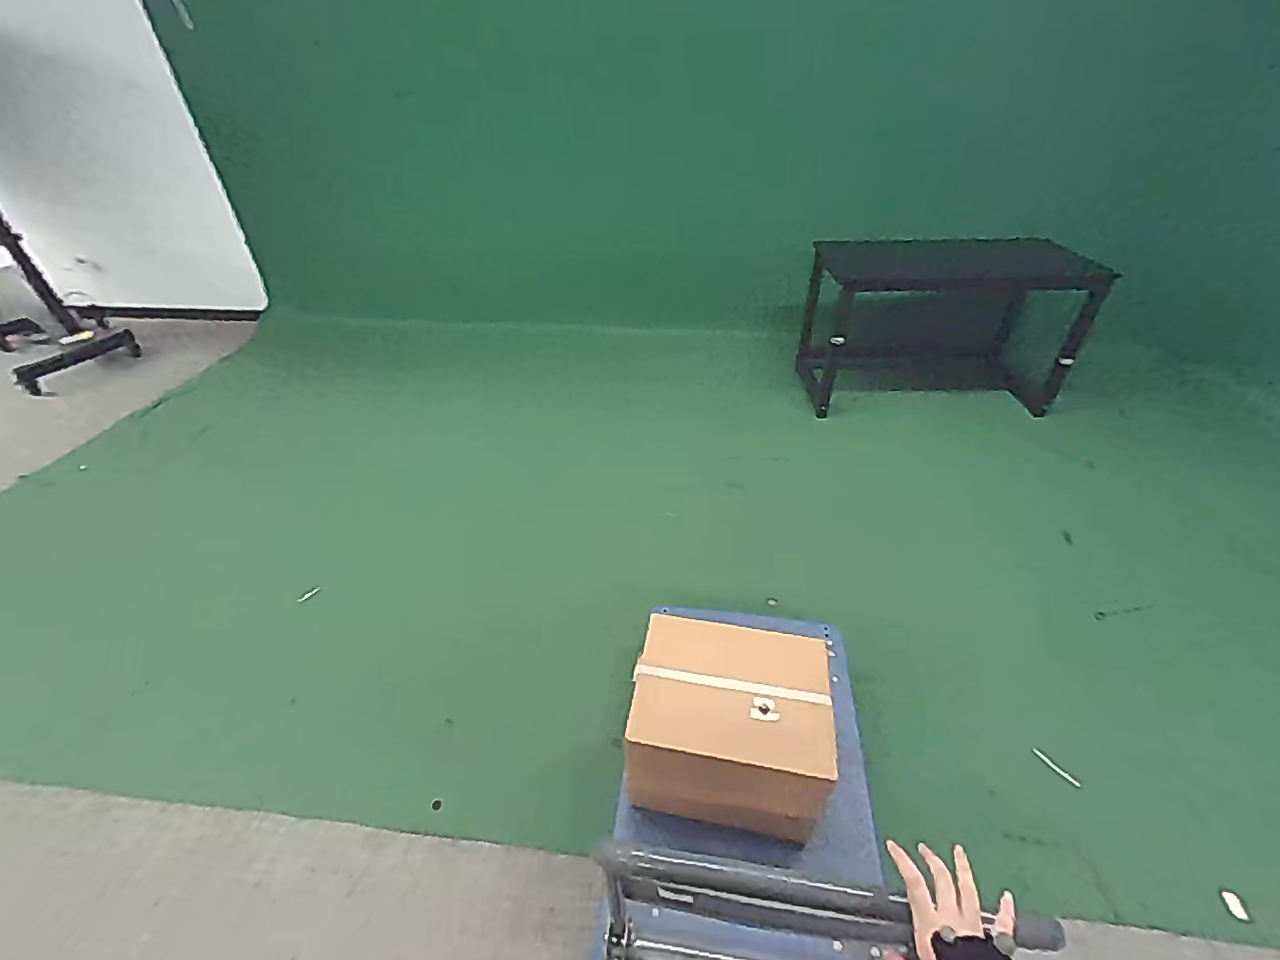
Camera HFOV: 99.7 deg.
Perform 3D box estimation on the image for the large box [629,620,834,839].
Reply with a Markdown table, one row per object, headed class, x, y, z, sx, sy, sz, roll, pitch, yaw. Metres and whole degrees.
| class | x | y | z | sx | sy | sz | roll | pitch | yaw |
| --- | --- | --- | --- | --- | --- | --- | --- | --- | --- |
| large box | 0.195 | 0.567 | 1.249 | 0.408 | 0.320 | 0.320 | 7 | 39 | 8 |
